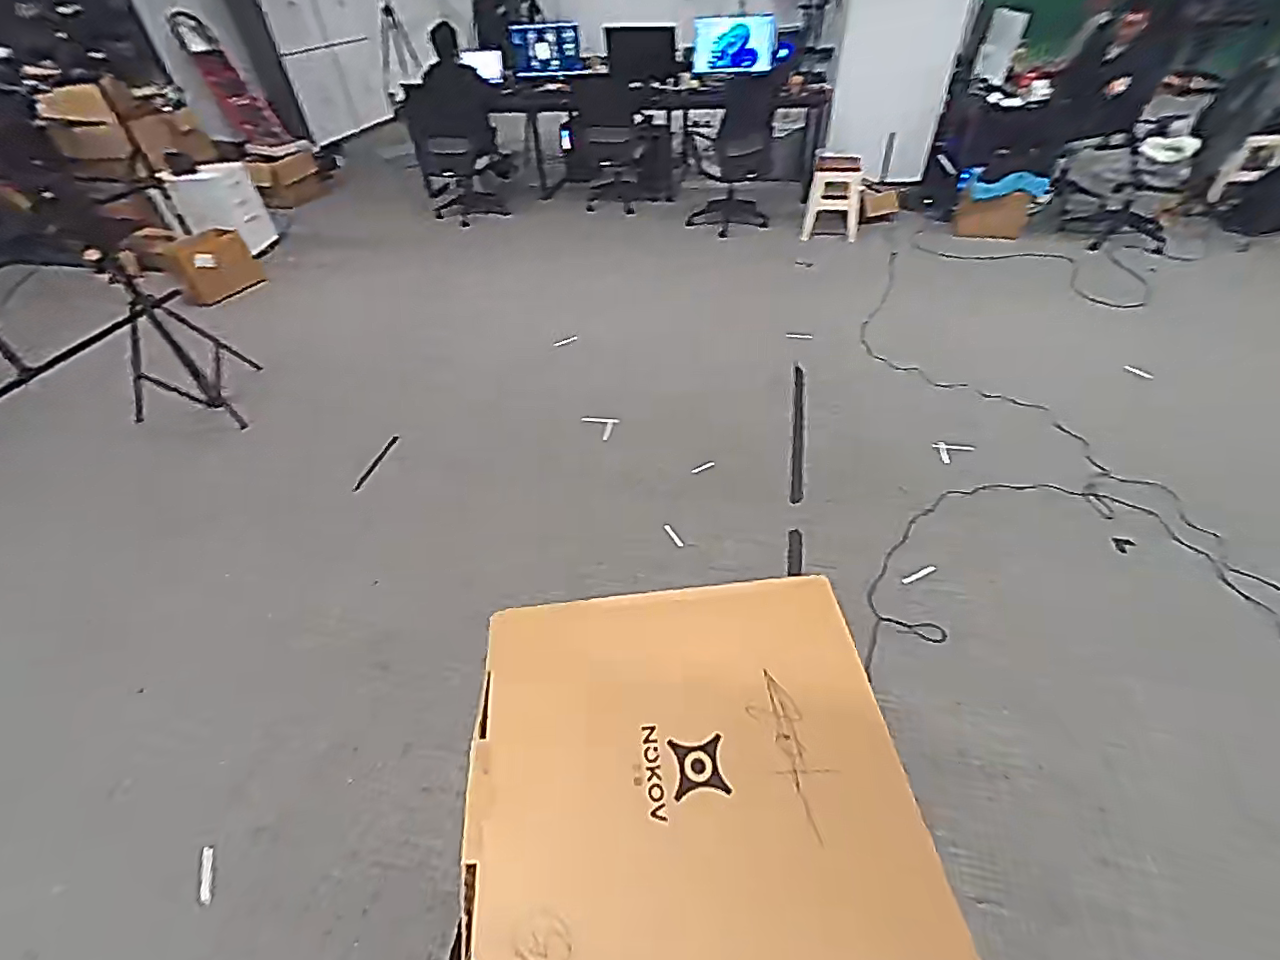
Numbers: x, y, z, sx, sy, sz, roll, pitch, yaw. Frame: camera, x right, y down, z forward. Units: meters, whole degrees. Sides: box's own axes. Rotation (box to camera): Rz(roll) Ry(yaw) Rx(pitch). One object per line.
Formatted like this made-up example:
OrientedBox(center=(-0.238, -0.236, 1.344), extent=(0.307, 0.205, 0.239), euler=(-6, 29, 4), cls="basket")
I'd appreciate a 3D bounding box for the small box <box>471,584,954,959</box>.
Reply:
OrientedBox(center=(0.020, 0.177, 0.297), extent=(0.179, 0.176, 0.168), euler=(-5, 49, -4), cls="small box")
